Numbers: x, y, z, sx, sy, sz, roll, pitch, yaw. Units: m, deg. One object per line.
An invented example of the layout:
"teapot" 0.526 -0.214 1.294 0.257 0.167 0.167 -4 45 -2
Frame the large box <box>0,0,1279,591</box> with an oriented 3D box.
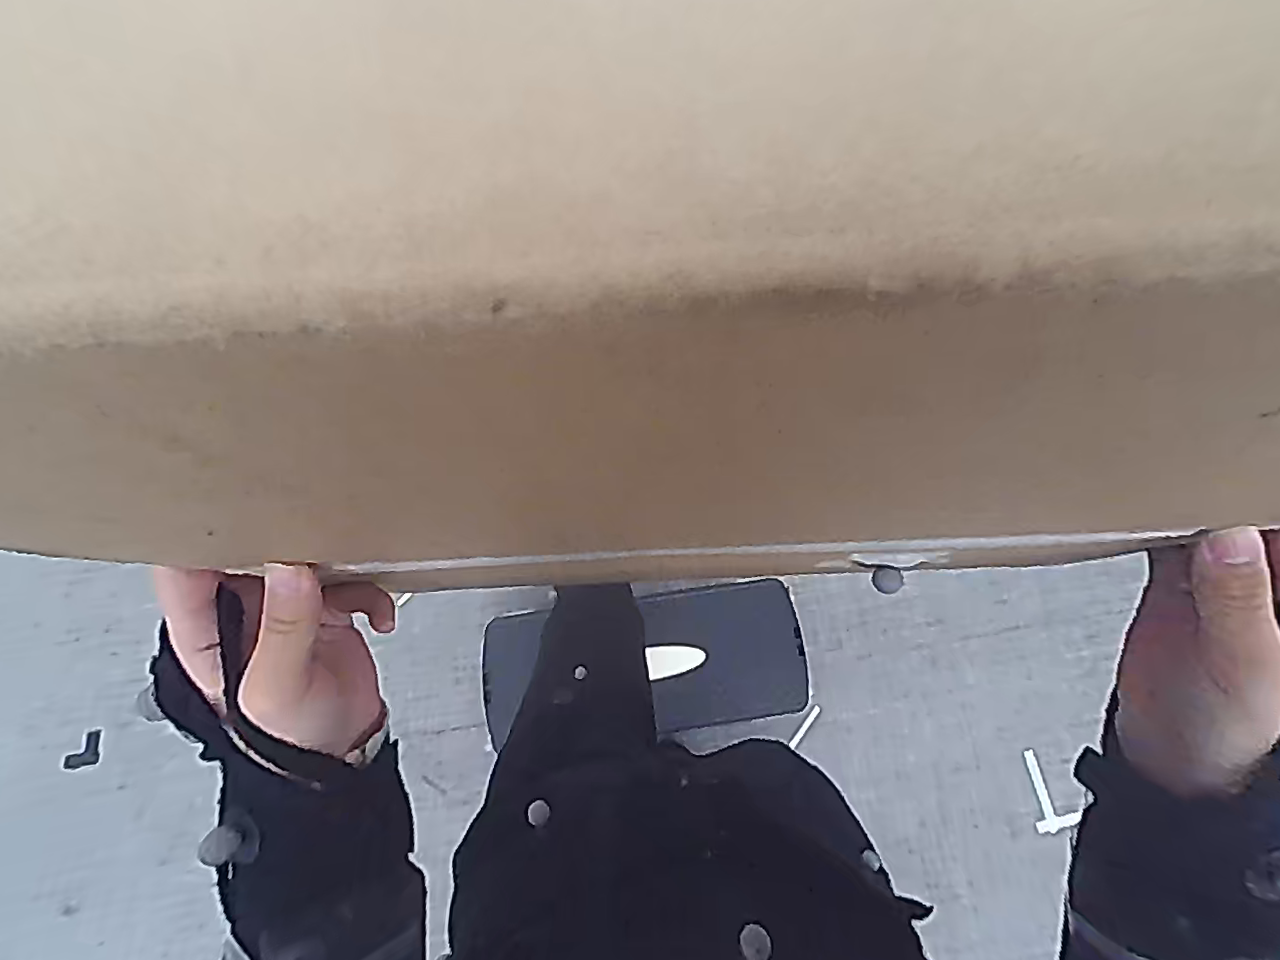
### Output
"large box" 0.027 -0.126 0.252 0.408 0.320 0.320 -4 75 2
